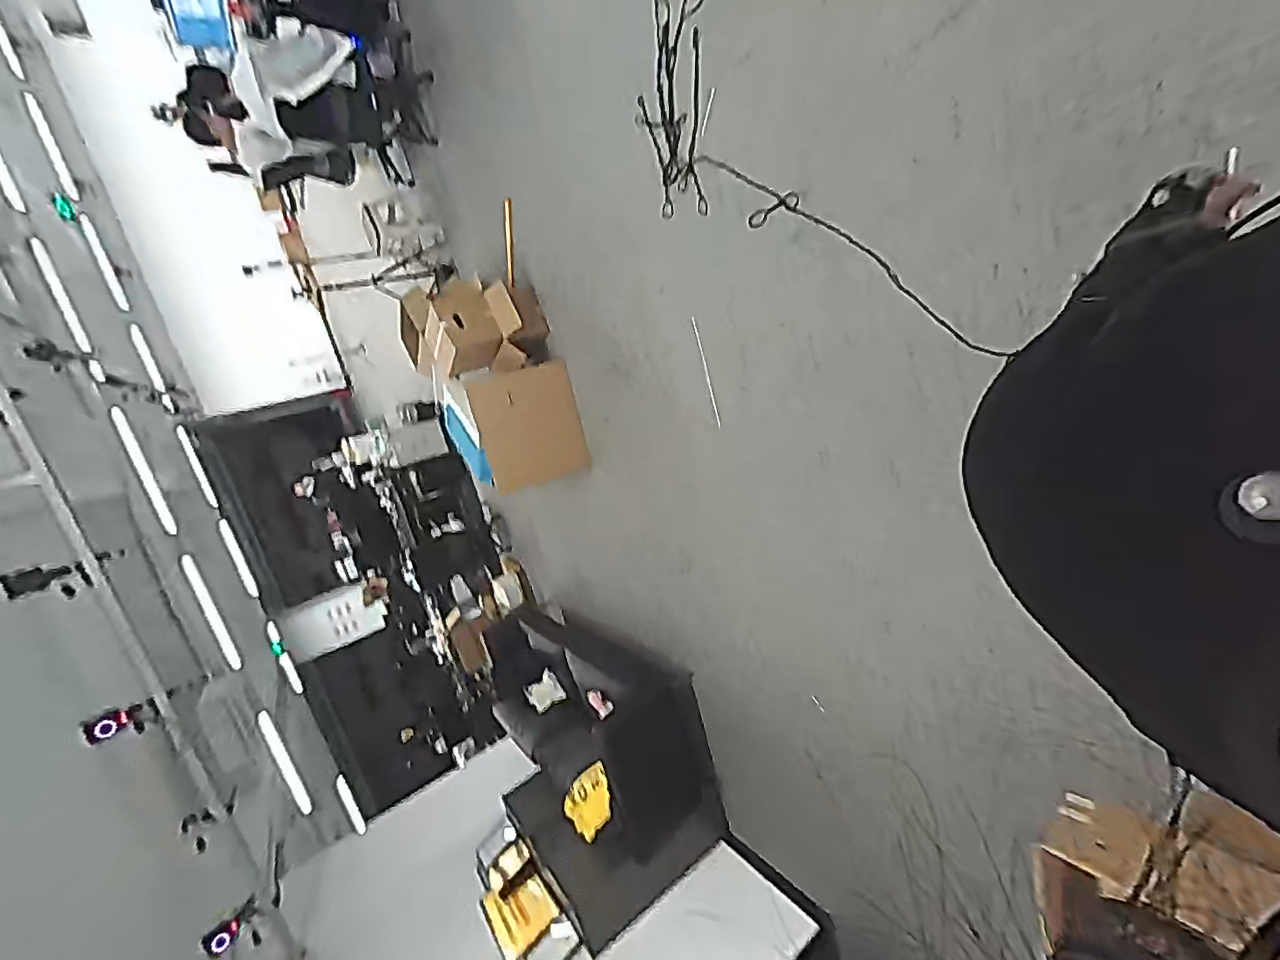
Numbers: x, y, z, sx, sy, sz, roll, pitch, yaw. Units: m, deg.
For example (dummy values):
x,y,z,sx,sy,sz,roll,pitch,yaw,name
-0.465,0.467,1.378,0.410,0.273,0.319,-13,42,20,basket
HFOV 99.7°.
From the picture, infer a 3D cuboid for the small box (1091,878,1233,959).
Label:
x,y,z,sx,sy,sz,roll,pitch,yaw,name
1.005,0.938,1.051,0.168,0.176,0.179,21,125,50,small box
